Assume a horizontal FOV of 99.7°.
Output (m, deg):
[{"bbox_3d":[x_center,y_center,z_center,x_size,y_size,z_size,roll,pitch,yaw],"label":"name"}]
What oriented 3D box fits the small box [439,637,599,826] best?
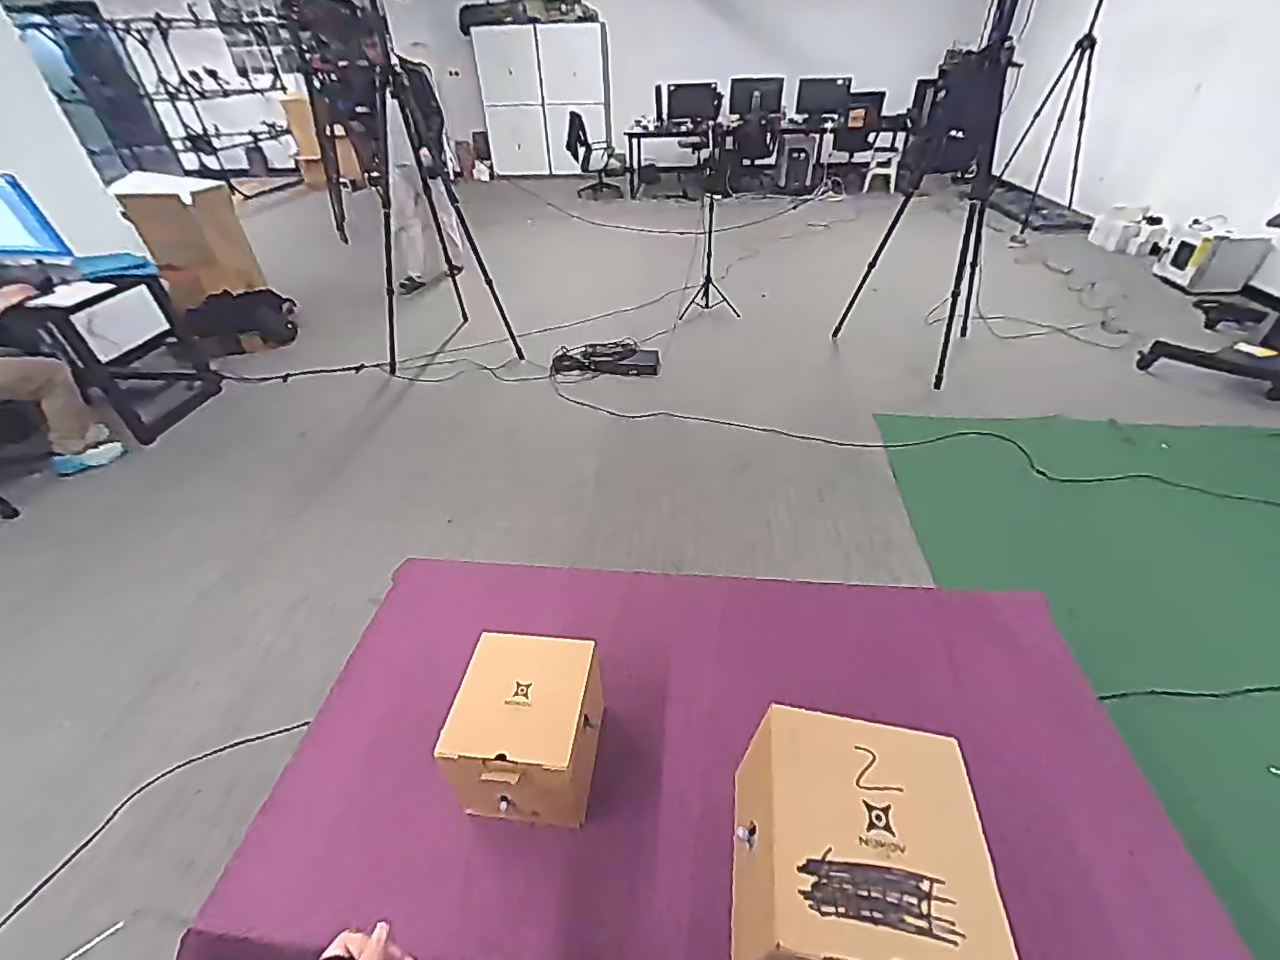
[{"bbox_3d":[-0.153,0.349,0.758,0.168,0.176,0.179,3,39,6],"label":"small box"}]
